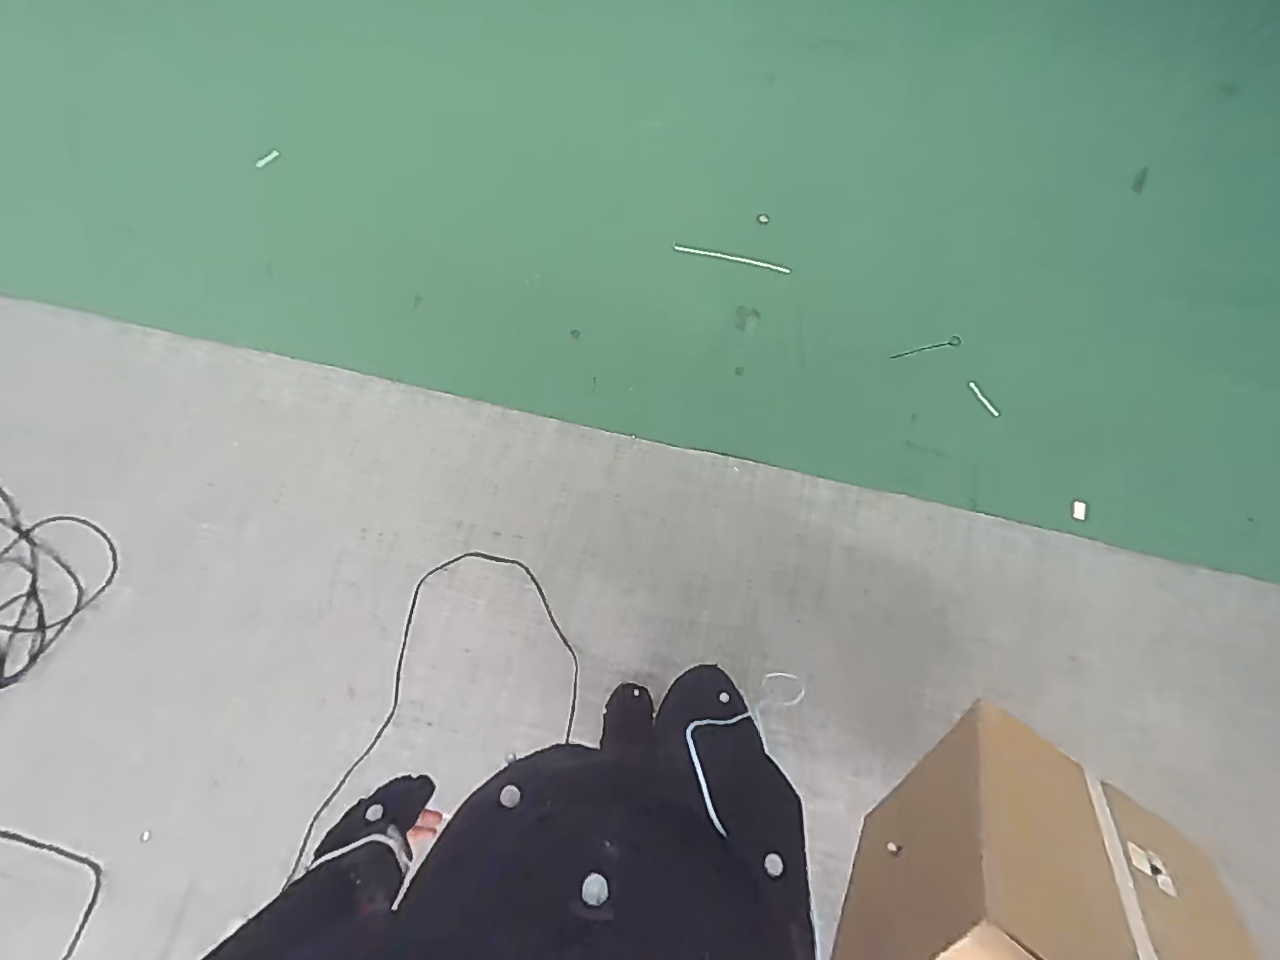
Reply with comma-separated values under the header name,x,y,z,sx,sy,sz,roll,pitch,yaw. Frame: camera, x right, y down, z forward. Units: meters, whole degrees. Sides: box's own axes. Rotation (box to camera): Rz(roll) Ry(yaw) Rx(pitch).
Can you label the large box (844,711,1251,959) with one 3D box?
name,x,y,z,sx,sy,sz,roll,pitch,yaw
large box,0.471,0.585,0.658,0.320,0.408,0.320,36,114,21
